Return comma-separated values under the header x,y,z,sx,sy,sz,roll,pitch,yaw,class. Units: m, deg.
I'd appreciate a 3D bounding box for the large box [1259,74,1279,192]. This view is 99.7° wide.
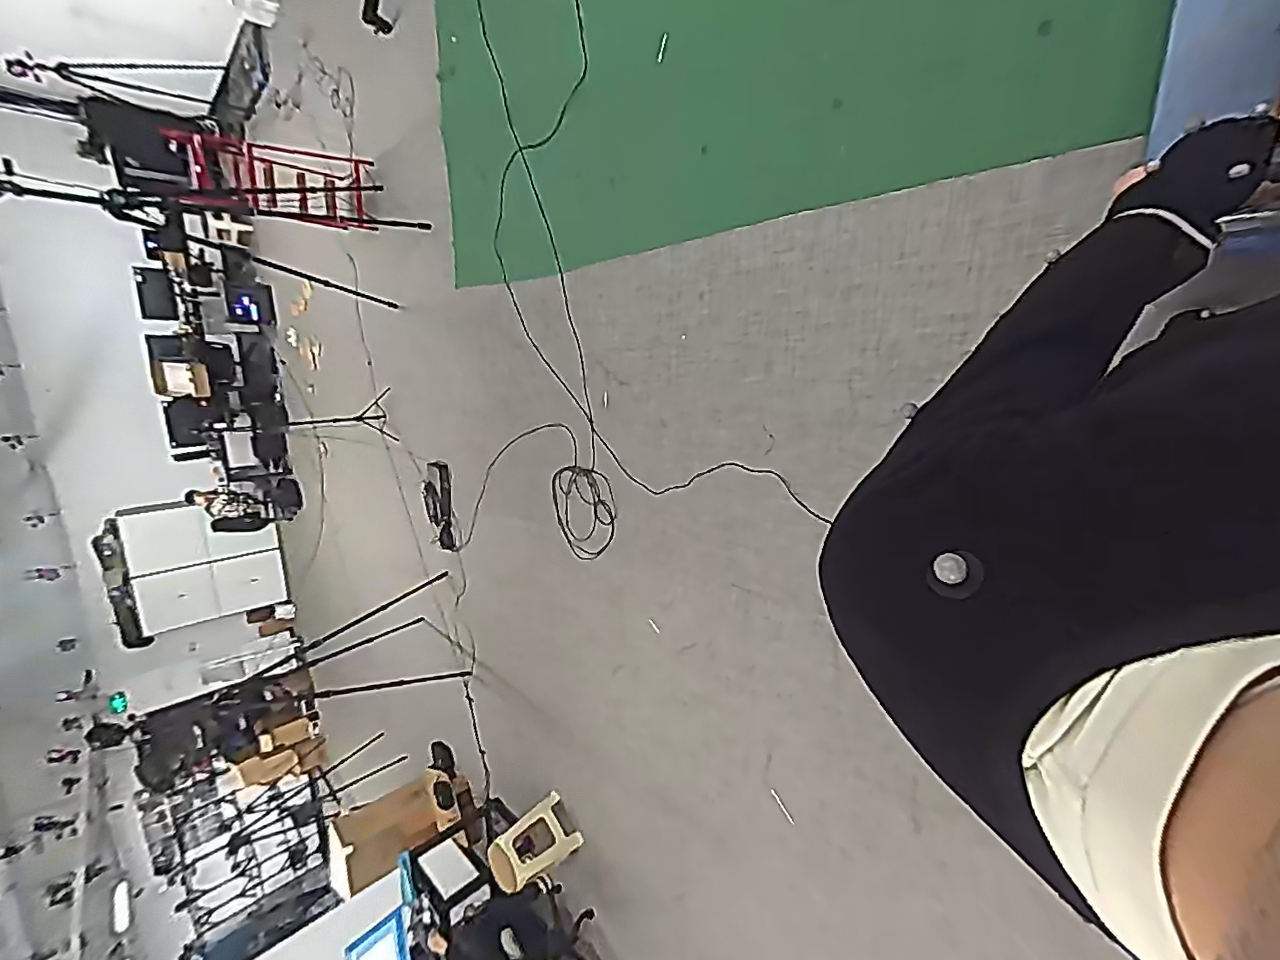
x,y,z,sx,sy,sz,roll,pitch,yaw,class
1.078,-0.652,0.699,0.320,0.320,0.408,12,107,43,large box
